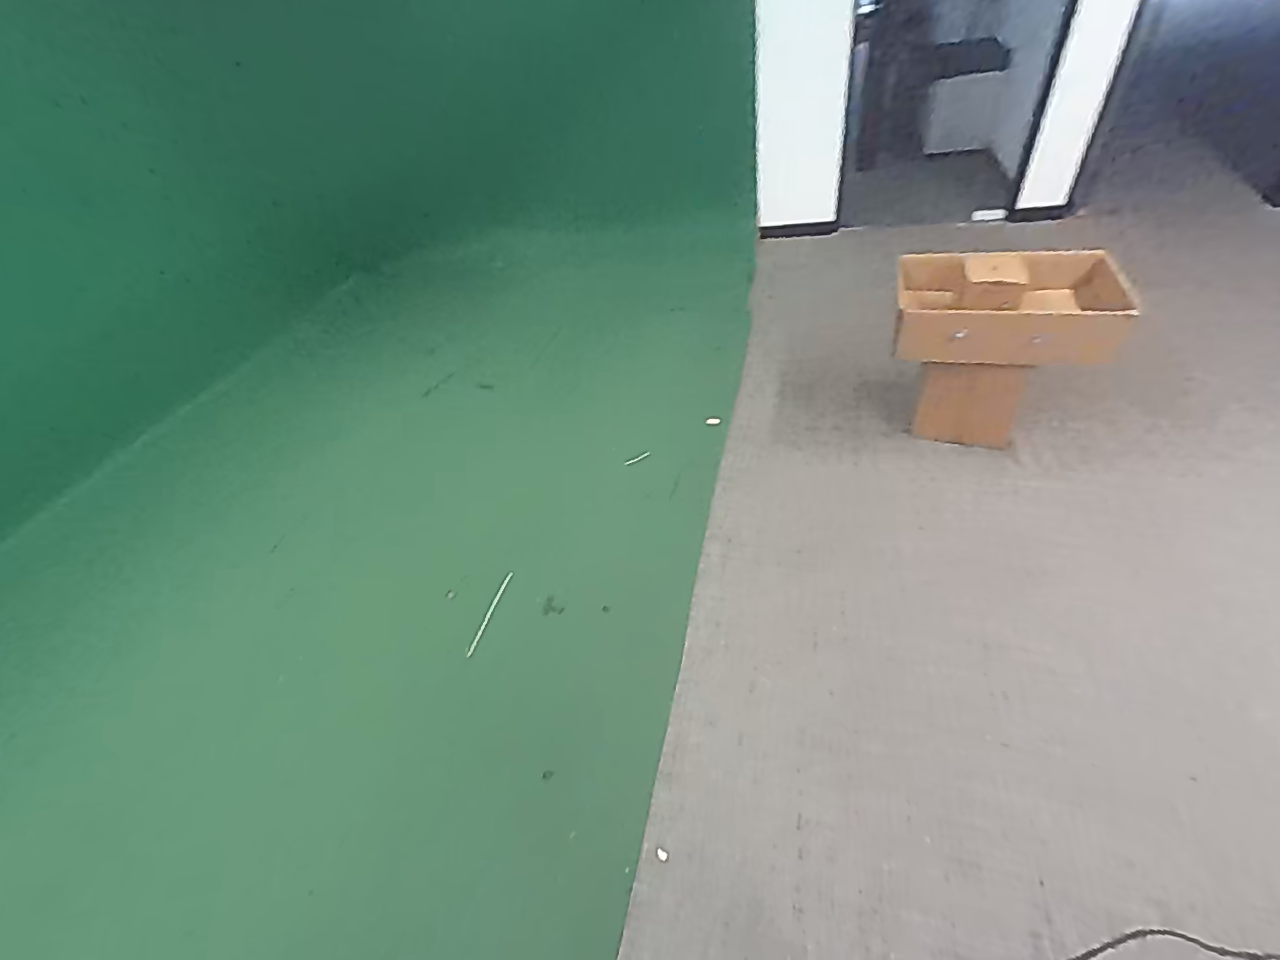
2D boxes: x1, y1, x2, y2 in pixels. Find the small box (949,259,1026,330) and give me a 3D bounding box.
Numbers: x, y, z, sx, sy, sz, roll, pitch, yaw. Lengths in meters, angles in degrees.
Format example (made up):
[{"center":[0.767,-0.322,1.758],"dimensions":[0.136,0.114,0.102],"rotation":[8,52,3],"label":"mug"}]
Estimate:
[{"center":[1.127,-0.606,1.766],"dimensions":[0.168,0.176,0.179],"rotation":[8,46,16],"label":"small box"}]
